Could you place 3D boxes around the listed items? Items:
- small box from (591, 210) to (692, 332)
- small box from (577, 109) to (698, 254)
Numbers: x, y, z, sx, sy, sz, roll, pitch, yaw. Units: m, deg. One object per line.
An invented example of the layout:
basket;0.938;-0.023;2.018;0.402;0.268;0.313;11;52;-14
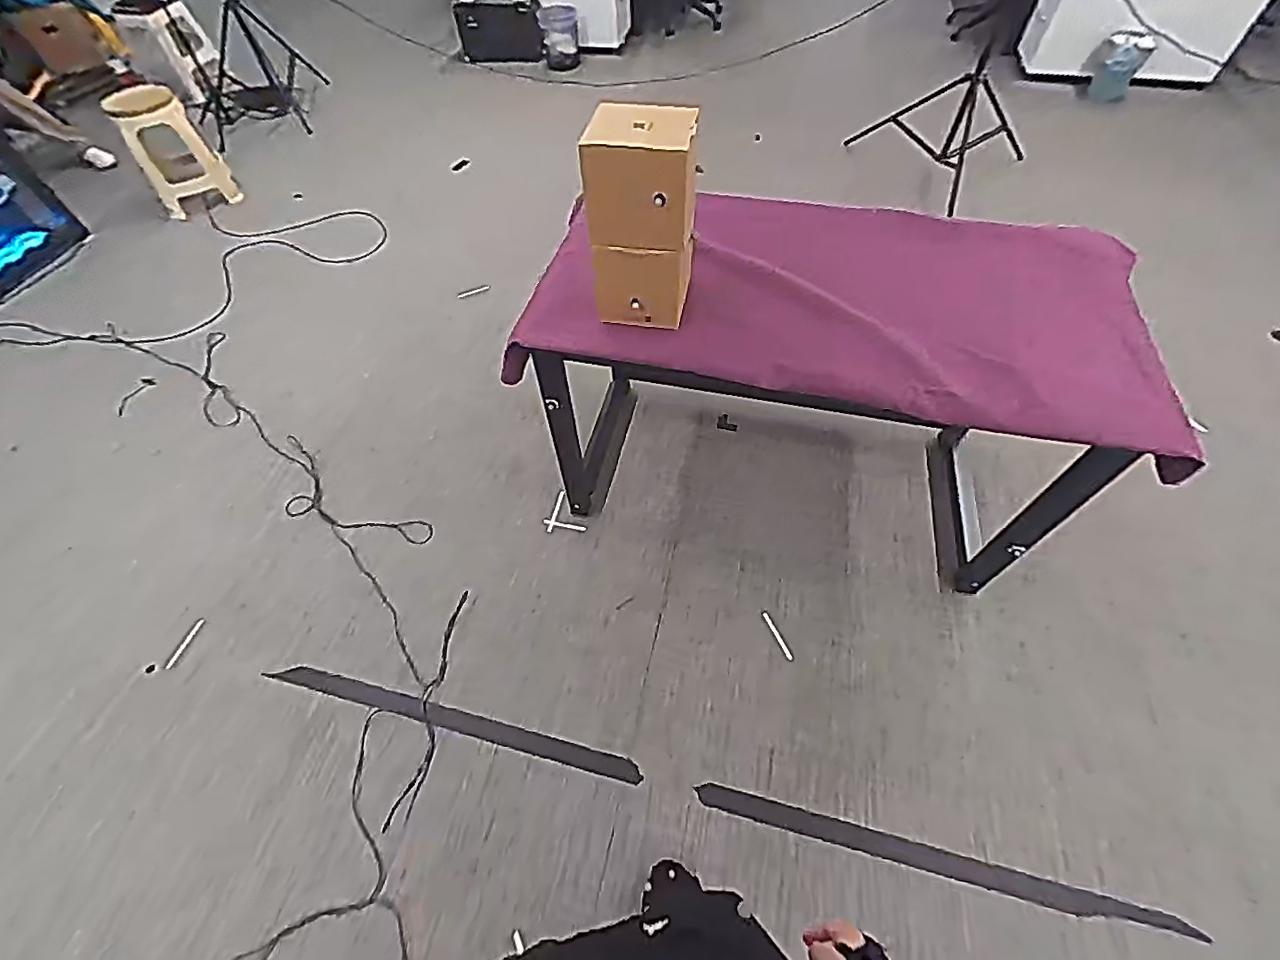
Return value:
small box;0.007;-0.424;1.078;0.168;0.176;0.179;8;56;8
small box;0.002;-0.518;0.947;0.179;0.176;0.168;7;54;7
